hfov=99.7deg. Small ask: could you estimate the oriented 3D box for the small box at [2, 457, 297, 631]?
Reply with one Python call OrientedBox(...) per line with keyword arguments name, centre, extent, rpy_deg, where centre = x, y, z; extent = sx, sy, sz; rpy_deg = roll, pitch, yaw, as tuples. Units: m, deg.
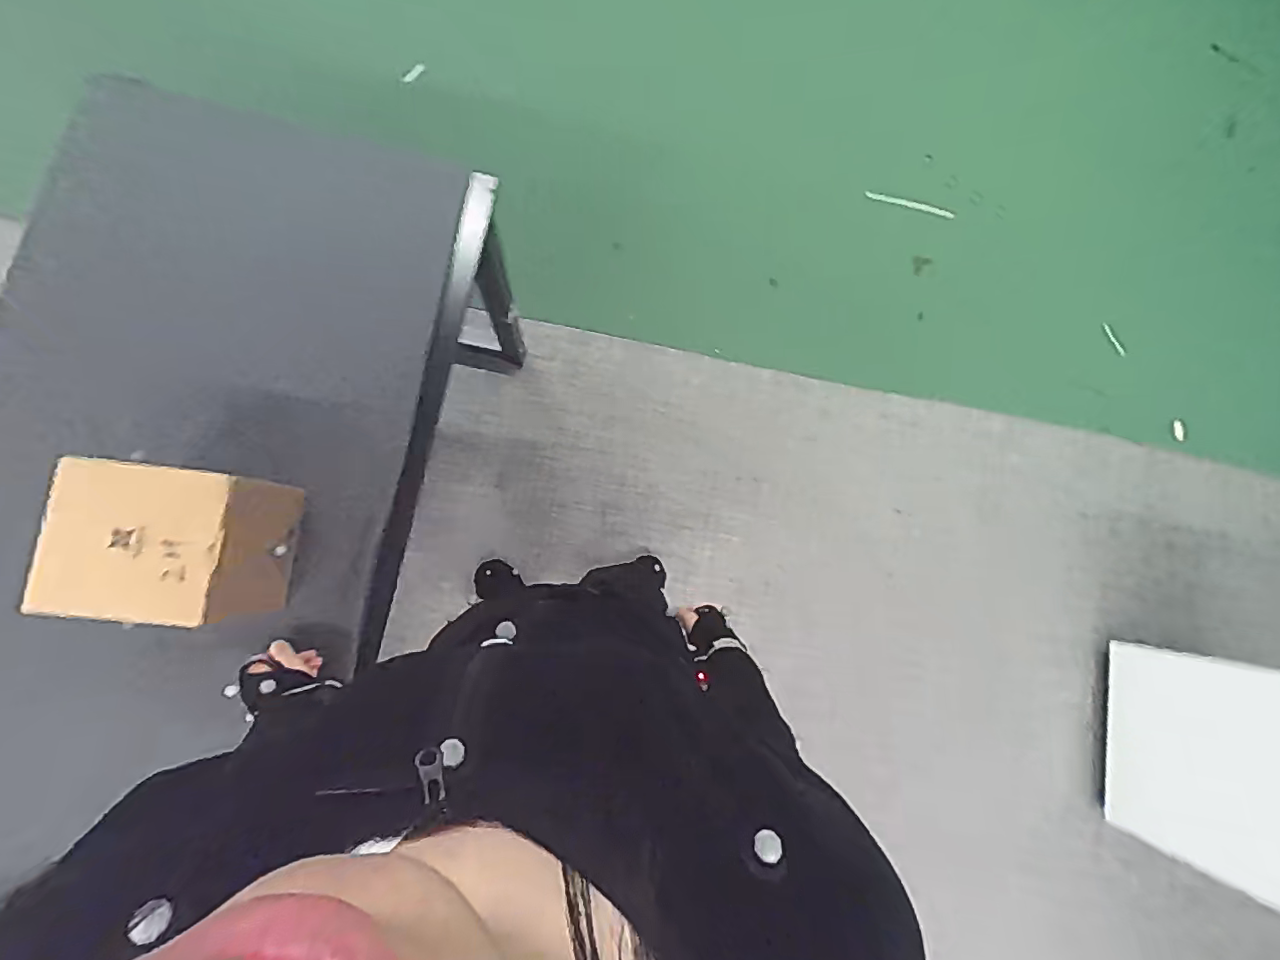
OrientedBox(name="small box", centre=(-0.550, 0.076, 0.636), extent=(0.179, 0.176, 0.168), rpy_deg=(7, 82, -5))
